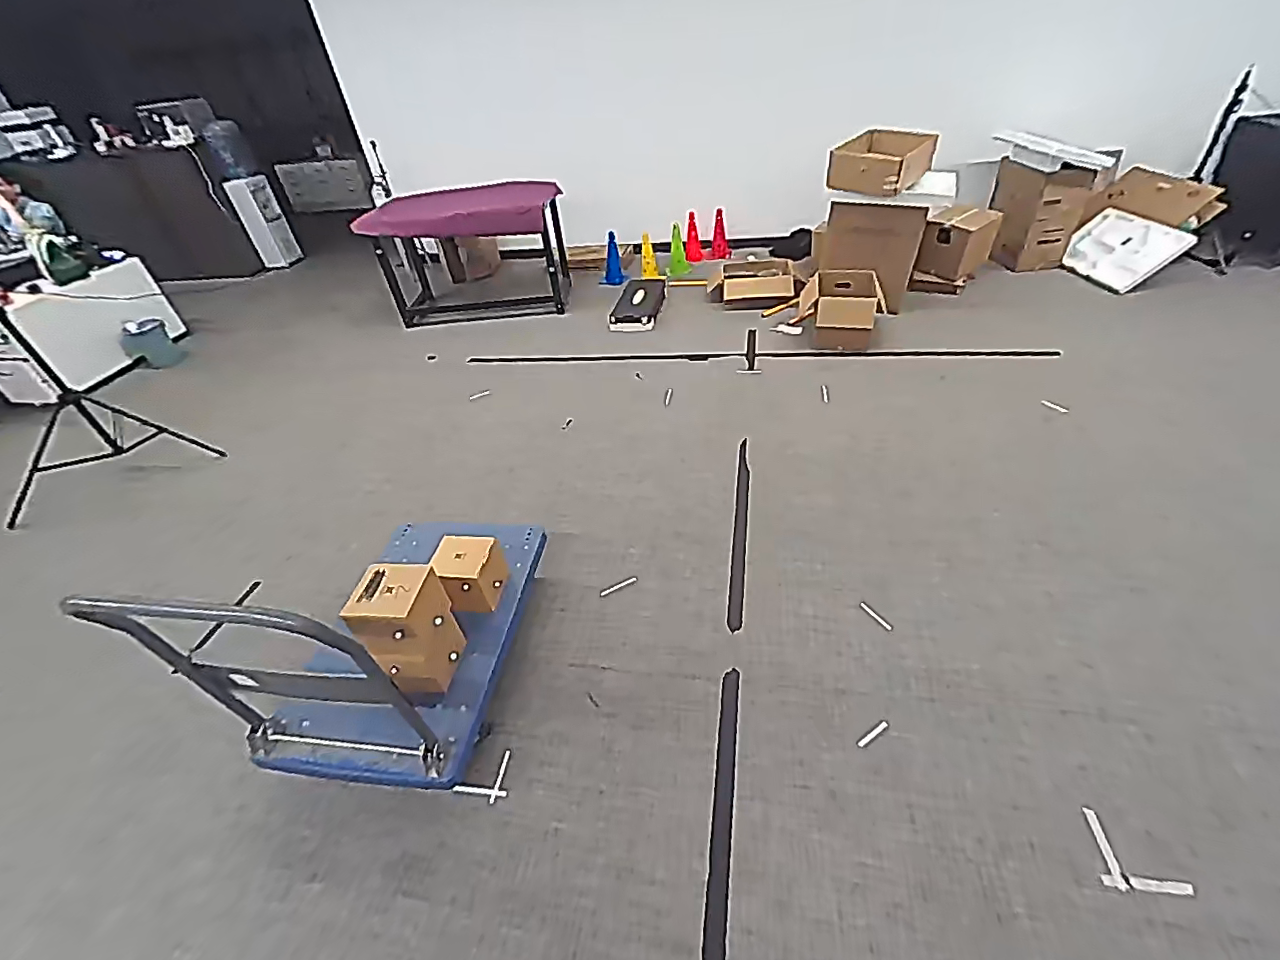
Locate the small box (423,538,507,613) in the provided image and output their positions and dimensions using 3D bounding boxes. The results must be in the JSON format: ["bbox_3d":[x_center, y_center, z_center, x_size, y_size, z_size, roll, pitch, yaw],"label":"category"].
[{"bbox_3d":[-0.539,0.299,1.692,0.179,0.176,0.168,1,40,9],"label":"small box"}]

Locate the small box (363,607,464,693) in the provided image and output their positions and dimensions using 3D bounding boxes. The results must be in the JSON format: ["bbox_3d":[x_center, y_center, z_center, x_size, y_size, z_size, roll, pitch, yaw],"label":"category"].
[{"bbox_3d":[-0.615,0.472,1.495,0.179,0.176,0.168,0,41,8],"label":"small box"}]
